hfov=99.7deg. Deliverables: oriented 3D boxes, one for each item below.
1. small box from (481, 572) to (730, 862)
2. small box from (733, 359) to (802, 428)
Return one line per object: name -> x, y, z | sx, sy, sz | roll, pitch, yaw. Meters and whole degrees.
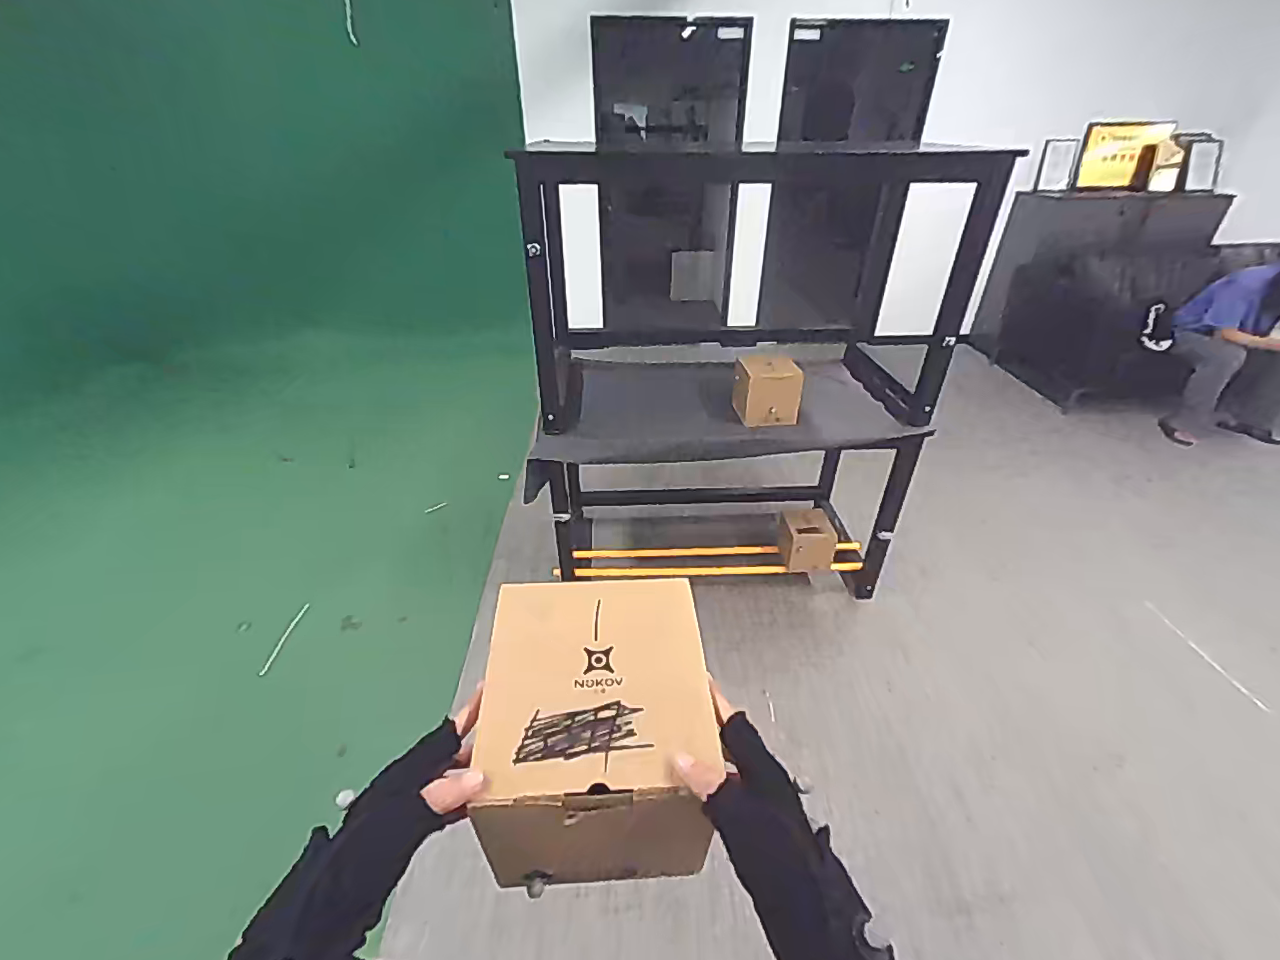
small box -> -0.028, 0.201, 0.461 | 0.168, 0.176, 0.179 | 0, 37, -4
small box -> 0.396, -0.275, 1.716 | 0.168, 0.176, 0.179 | -3, 32, -4
